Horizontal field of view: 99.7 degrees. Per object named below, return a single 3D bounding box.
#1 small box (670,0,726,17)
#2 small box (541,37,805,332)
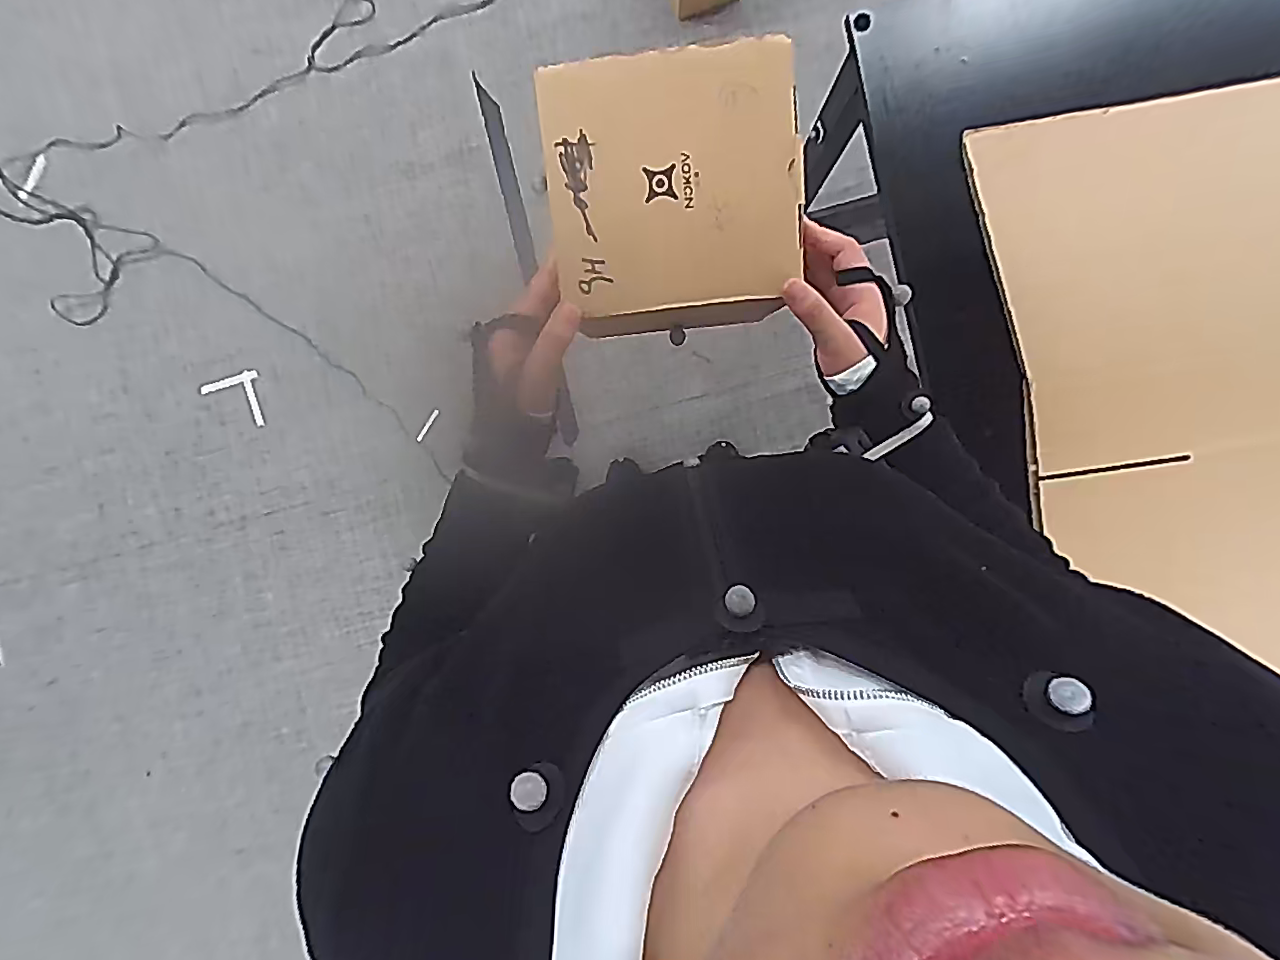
[{"bbox_3d":[0.151,-1.324,1.350,0.179,0.176,0.168,-18,92,3],"label":"small box"},{"bbox_3d":[0.025,-0.223,0.454,0.179,0.176,0.168,-6,99,1],"label":"small box"}]
